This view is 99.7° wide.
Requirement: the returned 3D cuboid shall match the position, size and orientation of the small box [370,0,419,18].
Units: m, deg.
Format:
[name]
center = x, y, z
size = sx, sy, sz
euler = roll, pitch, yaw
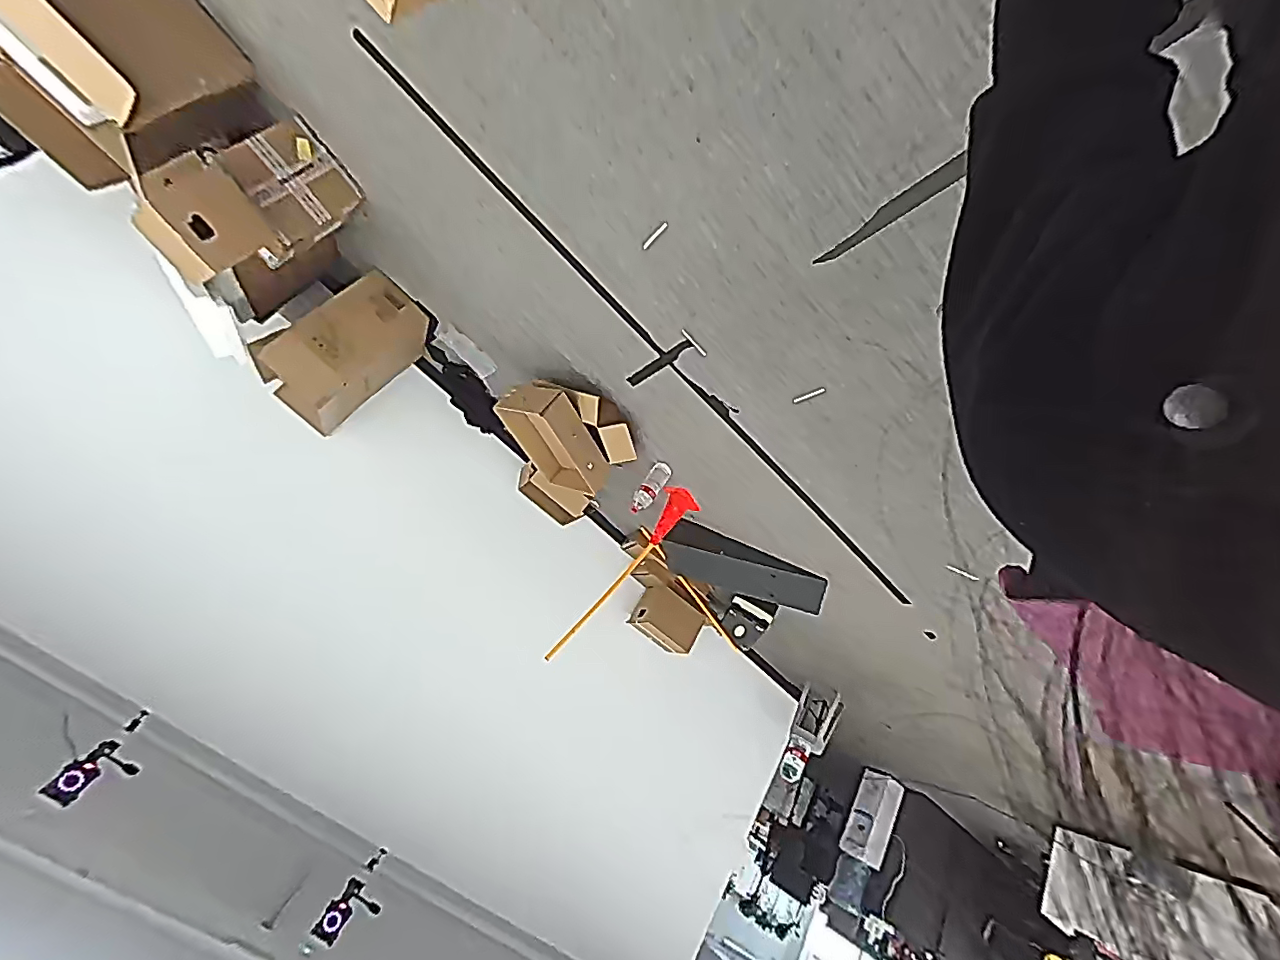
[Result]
[small box]
center = -0.618, -1.307, 1.325
size = 0.179, 0.176, 0.168
euler = 44, 154, -19
